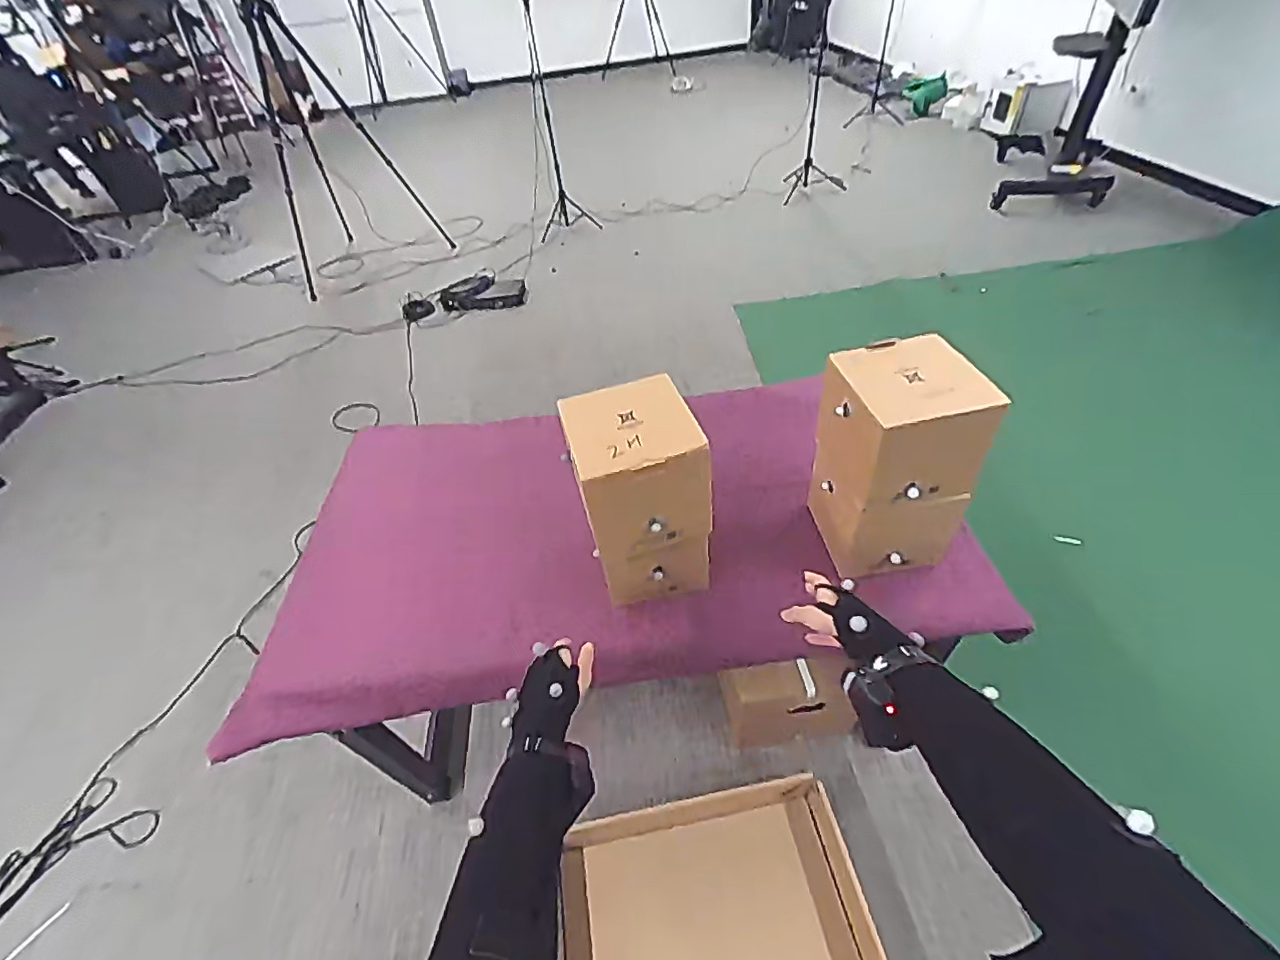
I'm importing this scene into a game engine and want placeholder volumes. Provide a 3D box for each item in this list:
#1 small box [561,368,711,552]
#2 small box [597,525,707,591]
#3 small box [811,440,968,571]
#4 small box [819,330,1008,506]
[{"bbox_3d":[-0.006,-0.029,0.768,0.168,0.176,0.179,-16,46,-7],"label":"small box"},{"bbox_3d":[0.014,0.069,0.903,0.168,0.176,0.179,-11,45,-3],"label":"small box"},{"bbox_3d":[0.393,0.025,0.893,0.168,0.176,0.179,-8,46,1],"label":"small box"},{"bbox_3d":[0.371,-0.089,0.778,0.168,0.176,0.179,-11,45,-1],"label":"small box"}]
